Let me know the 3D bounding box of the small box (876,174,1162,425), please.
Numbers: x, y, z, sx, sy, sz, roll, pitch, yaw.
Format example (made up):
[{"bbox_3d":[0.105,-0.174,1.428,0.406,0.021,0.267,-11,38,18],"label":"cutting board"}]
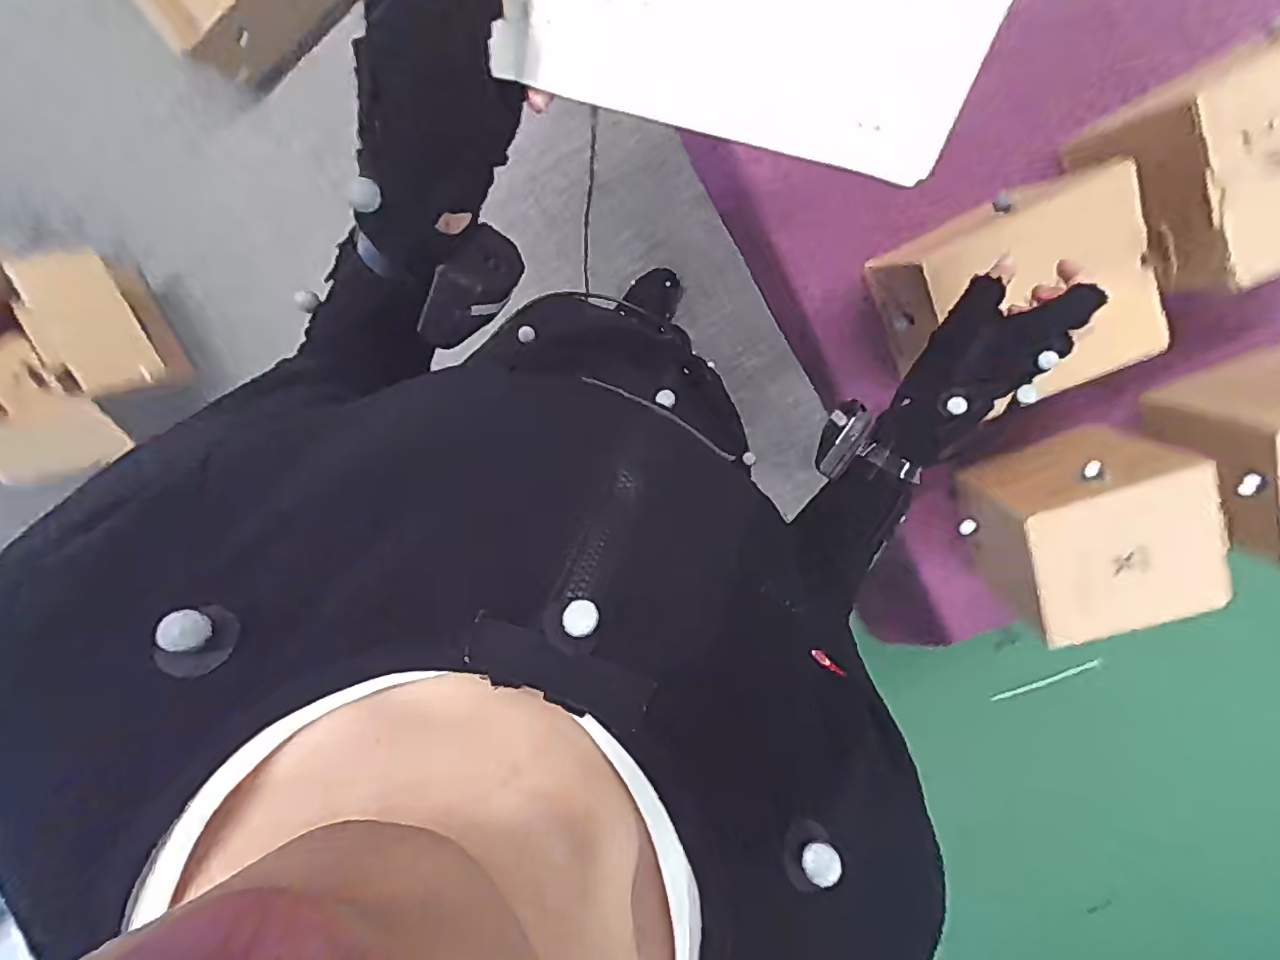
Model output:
[{"bbox_3d":[0.366,-0.178,0.559,0.179,0.176,0.168,-23,106,12],"label":"small box"}]

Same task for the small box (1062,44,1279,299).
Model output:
[{"bbox_3d":[0.553,-0.288,0.504,0.179,0.176,0.168,-25,106,13],"label":"small box"}]

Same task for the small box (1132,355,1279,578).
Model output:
[{"bbox_3d":[0.702,-0.026,0.589,0.179,0.176,0.168,-21,107,11],"label":"small box"}]
